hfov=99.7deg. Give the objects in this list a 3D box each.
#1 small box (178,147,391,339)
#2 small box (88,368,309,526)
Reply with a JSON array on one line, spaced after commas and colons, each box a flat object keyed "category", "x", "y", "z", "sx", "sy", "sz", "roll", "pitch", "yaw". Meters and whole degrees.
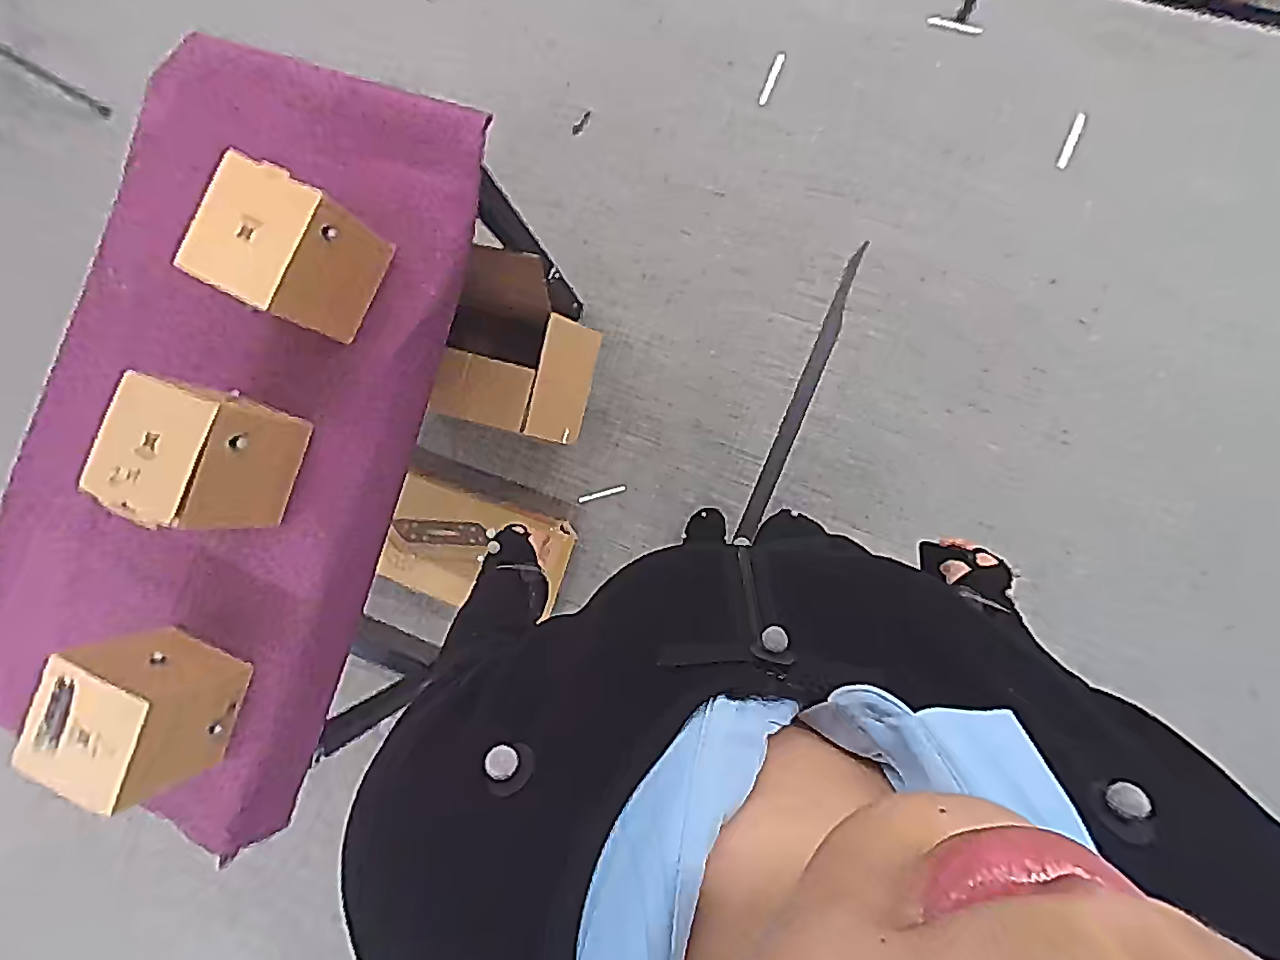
[{"category": "small box", "x": -0.506, "y": -0.333, "z": 0.796, "sx": 0.168, "sy": 0.176, "sz": 0.179, "roll": 27, "pitch": 91, "yaw": 9}, {"category": "small box", "x": -0.635, "y": -0.042, "z": 0.800, "sx": 0.168, "sy": 0.176, "sz": 0.179, "roll": 20, "pitch": 90, "yaw": 11}]
